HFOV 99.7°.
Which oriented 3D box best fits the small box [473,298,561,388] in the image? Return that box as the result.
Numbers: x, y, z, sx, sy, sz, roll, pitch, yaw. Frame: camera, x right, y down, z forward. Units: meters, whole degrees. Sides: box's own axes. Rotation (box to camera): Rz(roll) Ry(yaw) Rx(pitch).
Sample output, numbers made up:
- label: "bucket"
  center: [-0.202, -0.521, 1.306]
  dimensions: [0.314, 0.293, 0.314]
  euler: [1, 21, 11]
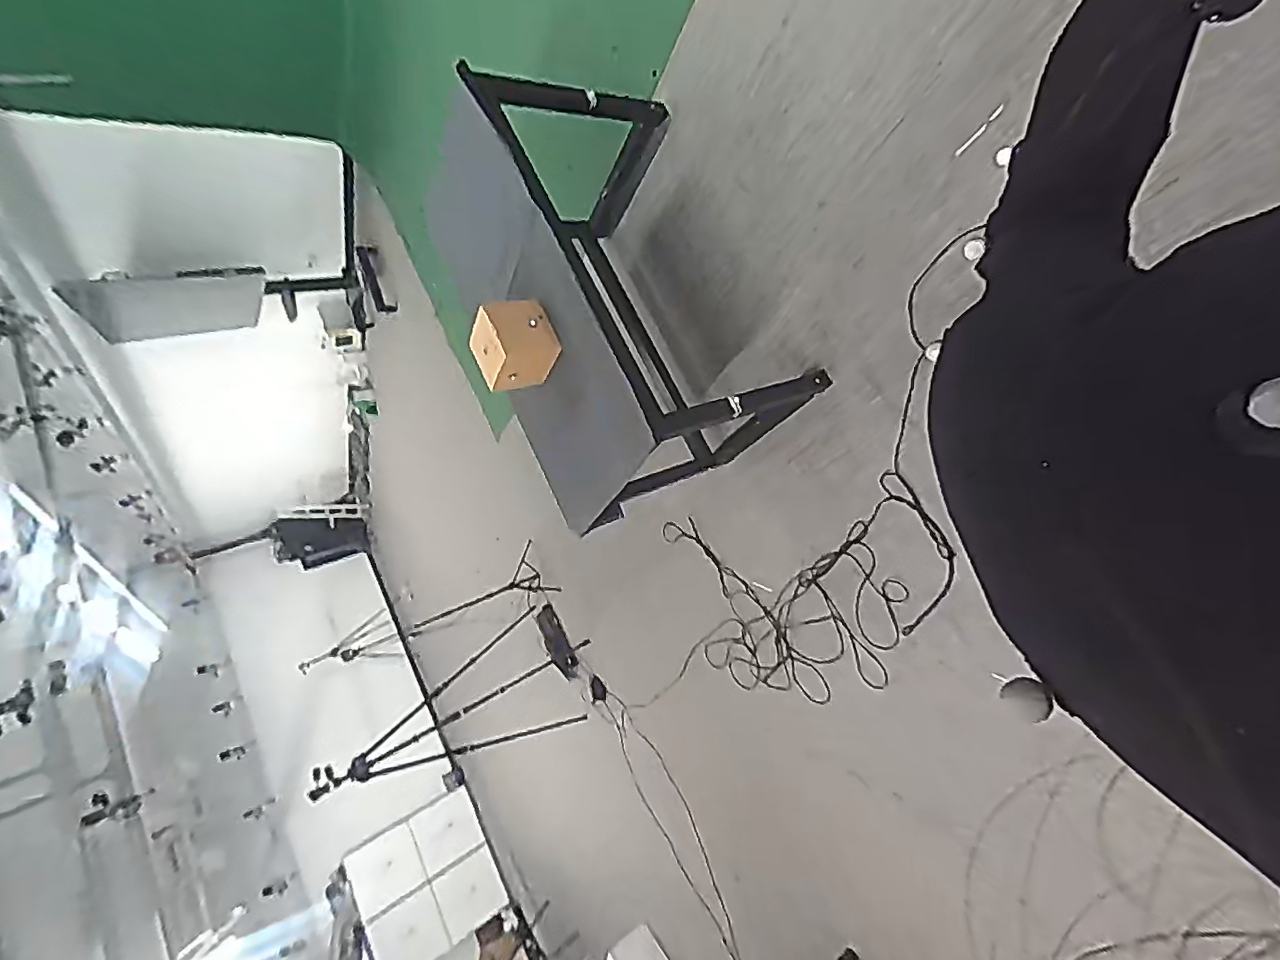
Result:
- label: "small box"
  center: [-0.340, -0.379, 1.494]
  dimensions: [0.168, 0.176, 0.179]
  euler: [63, 145, 11]
